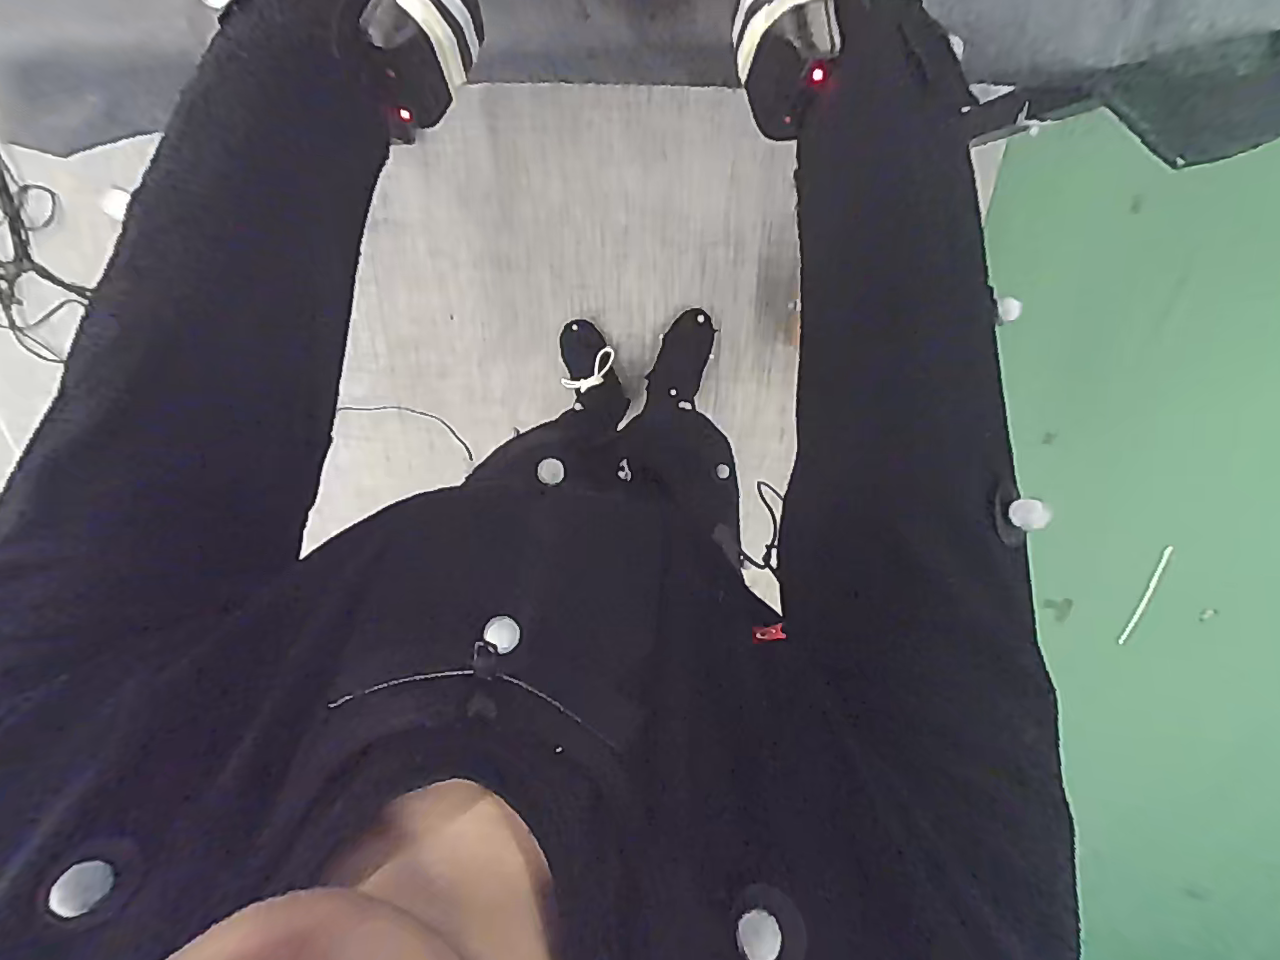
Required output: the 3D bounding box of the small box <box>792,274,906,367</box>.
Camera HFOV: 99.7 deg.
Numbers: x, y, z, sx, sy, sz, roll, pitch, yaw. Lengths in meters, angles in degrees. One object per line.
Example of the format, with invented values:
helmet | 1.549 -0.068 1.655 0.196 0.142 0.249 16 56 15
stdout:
small box | 0.427 -0.338 1.132 0.179 0.176 0.168 -4 111 4
